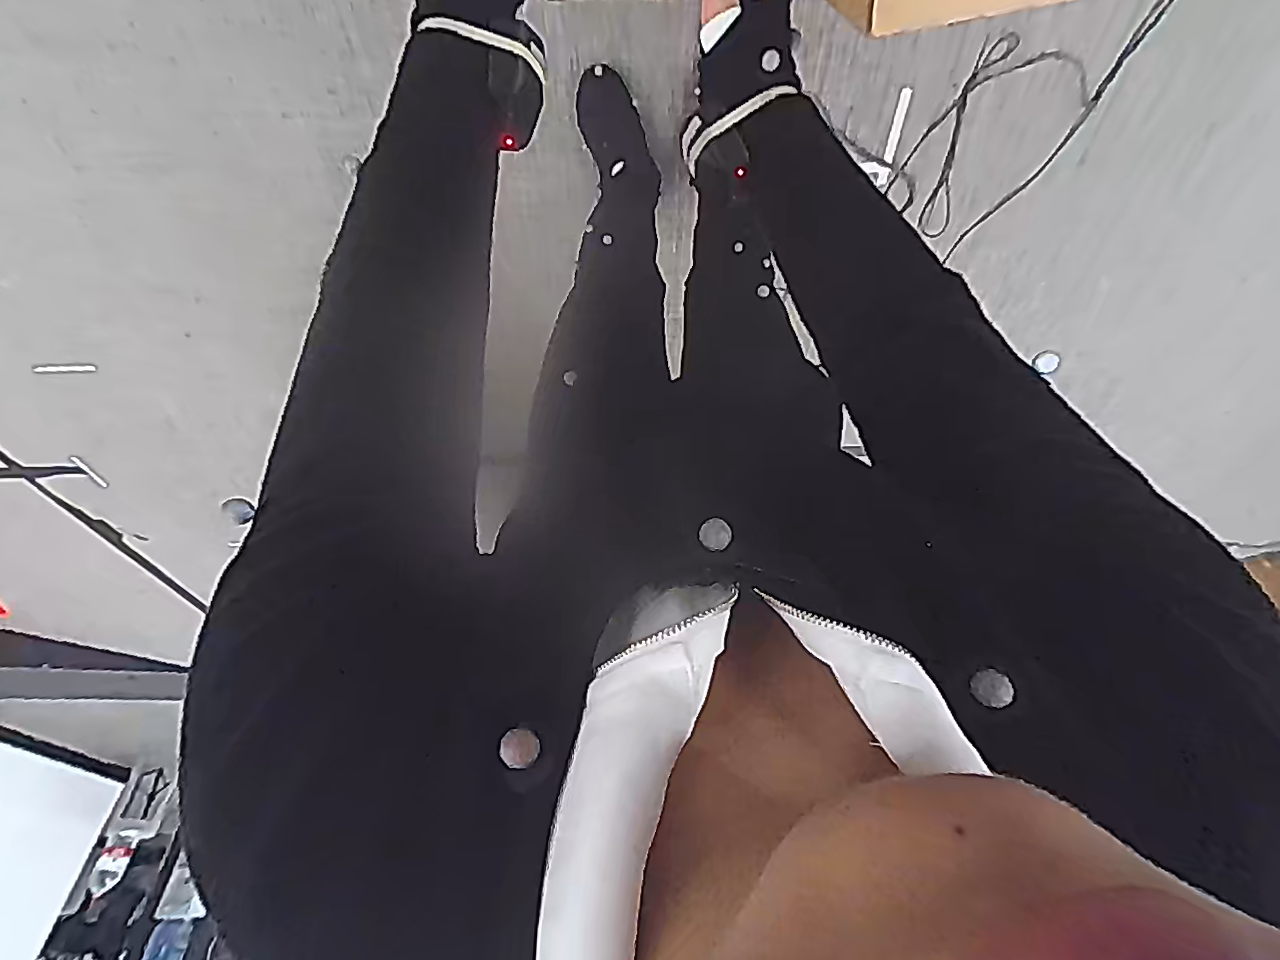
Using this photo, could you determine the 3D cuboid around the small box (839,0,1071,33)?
[{"bbox_3d":[0.204,-0.397,0.315,0.179,0.176,0.168,-8,143,4],"label":"small box"}]
